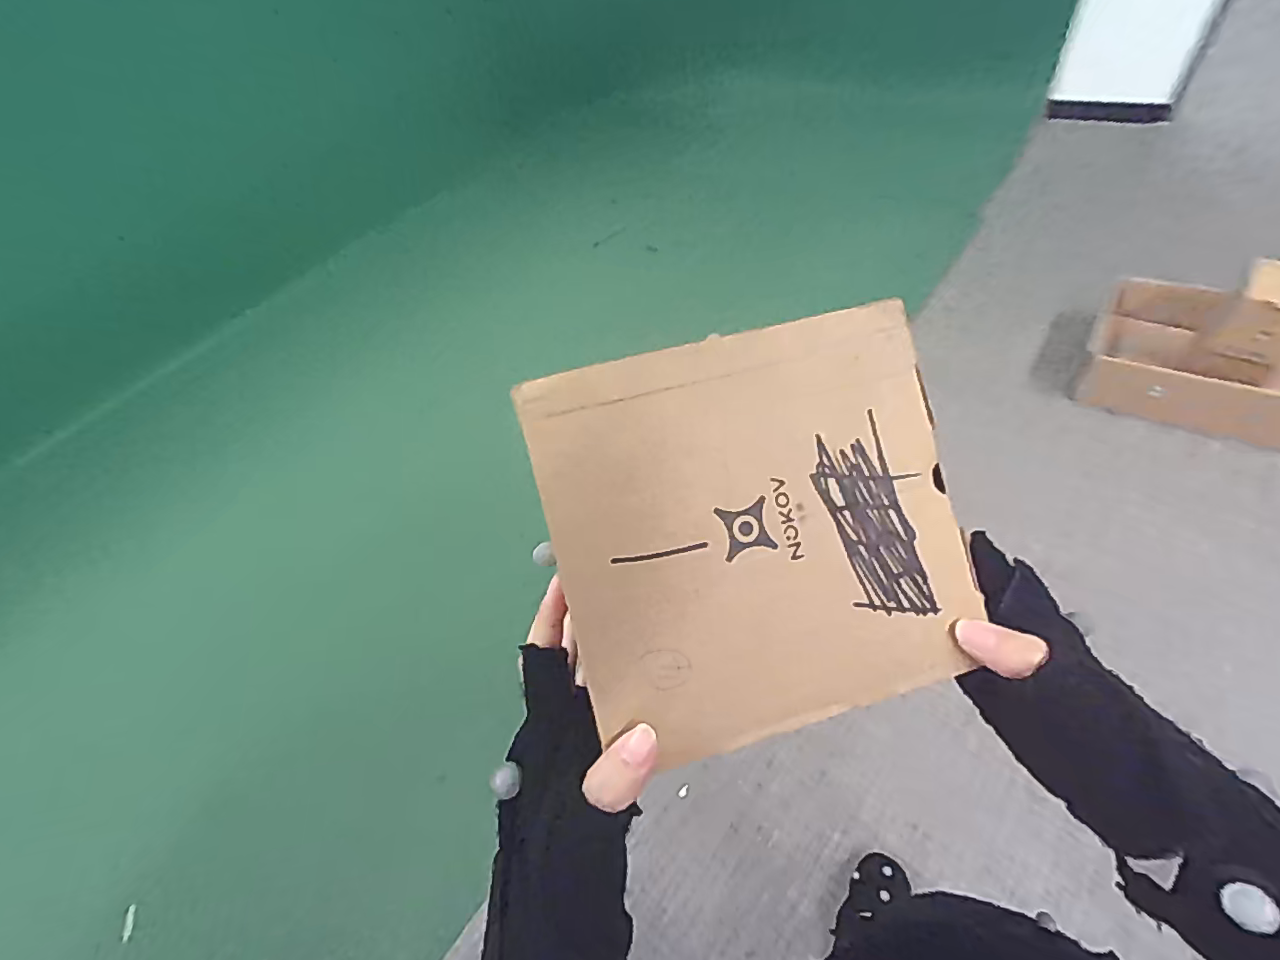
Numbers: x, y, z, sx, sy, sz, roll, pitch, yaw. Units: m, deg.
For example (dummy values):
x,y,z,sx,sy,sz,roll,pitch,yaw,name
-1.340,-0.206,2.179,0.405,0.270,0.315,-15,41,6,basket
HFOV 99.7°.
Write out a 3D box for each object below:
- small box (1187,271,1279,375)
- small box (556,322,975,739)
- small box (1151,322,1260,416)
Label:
x,y,z,sx,sy,sz,roll,pitch,yaw,name
1.566,-0.400,1.388,0.168,0.176,0.179,28,64,29,small box
0.051,0.023,0.329,0.179,0.176,0.168,-12,87,-7,small box
1.594,-0.310,1.521,0.168,0.176,0.179,26,61,28,small box
